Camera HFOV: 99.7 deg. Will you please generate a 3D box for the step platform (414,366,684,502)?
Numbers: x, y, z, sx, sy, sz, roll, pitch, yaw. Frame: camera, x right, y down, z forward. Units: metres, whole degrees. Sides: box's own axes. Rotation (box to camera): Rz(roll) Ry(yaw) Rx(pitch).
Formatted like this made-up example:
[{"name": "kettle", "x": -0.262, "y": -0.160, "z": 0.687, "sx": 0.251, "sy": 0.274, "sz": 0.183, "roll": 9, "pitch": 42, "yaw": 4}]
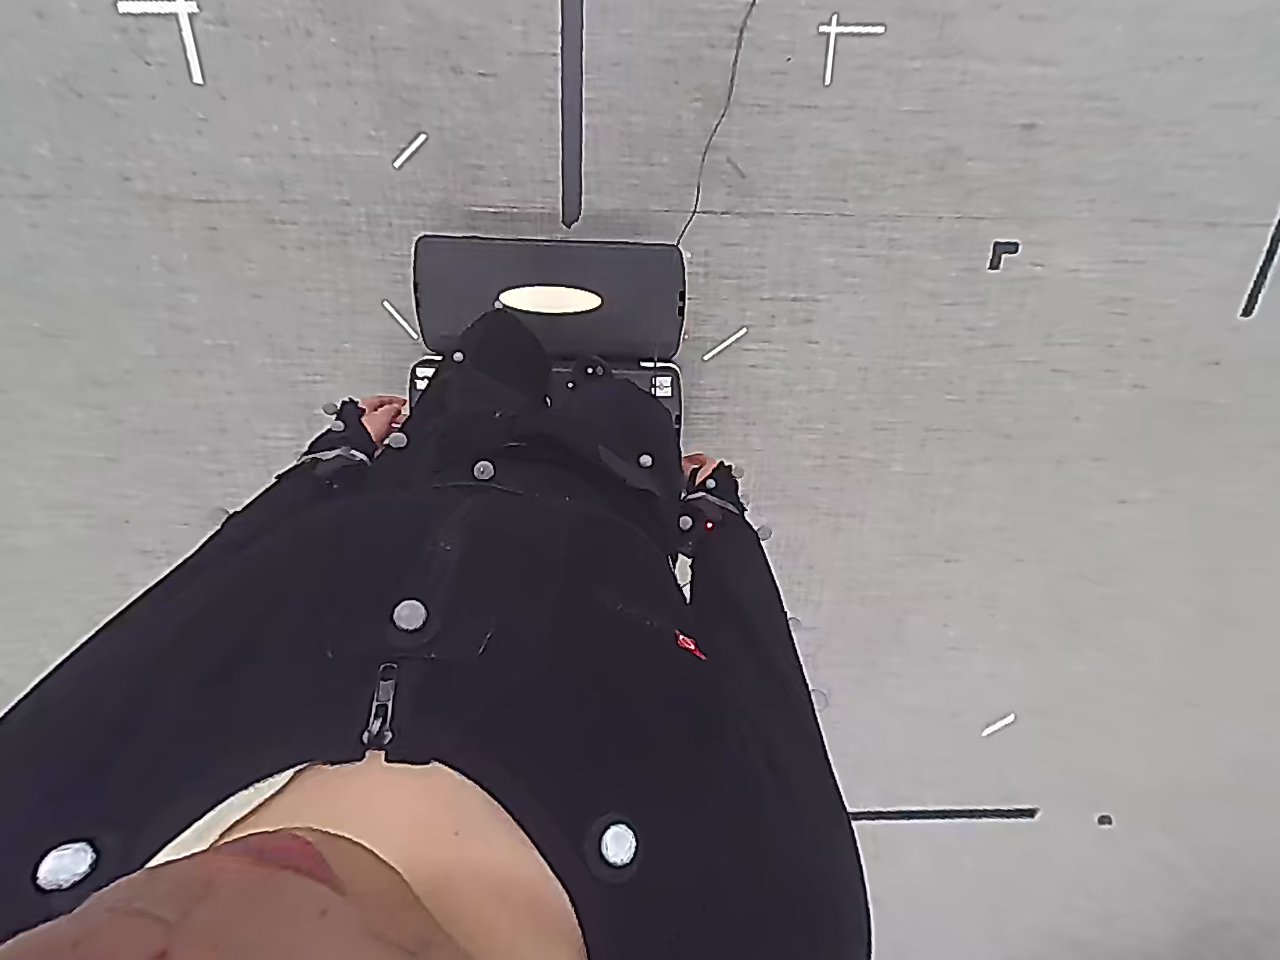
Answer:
[{"name": "step platform", "x": -0.227, "y": -0.121, "z": 1.420, "sx": 0.684, "sy": 0.204, "sz": 0.286, "roll": 6, "pitch": 106, "yaw": -2}]
